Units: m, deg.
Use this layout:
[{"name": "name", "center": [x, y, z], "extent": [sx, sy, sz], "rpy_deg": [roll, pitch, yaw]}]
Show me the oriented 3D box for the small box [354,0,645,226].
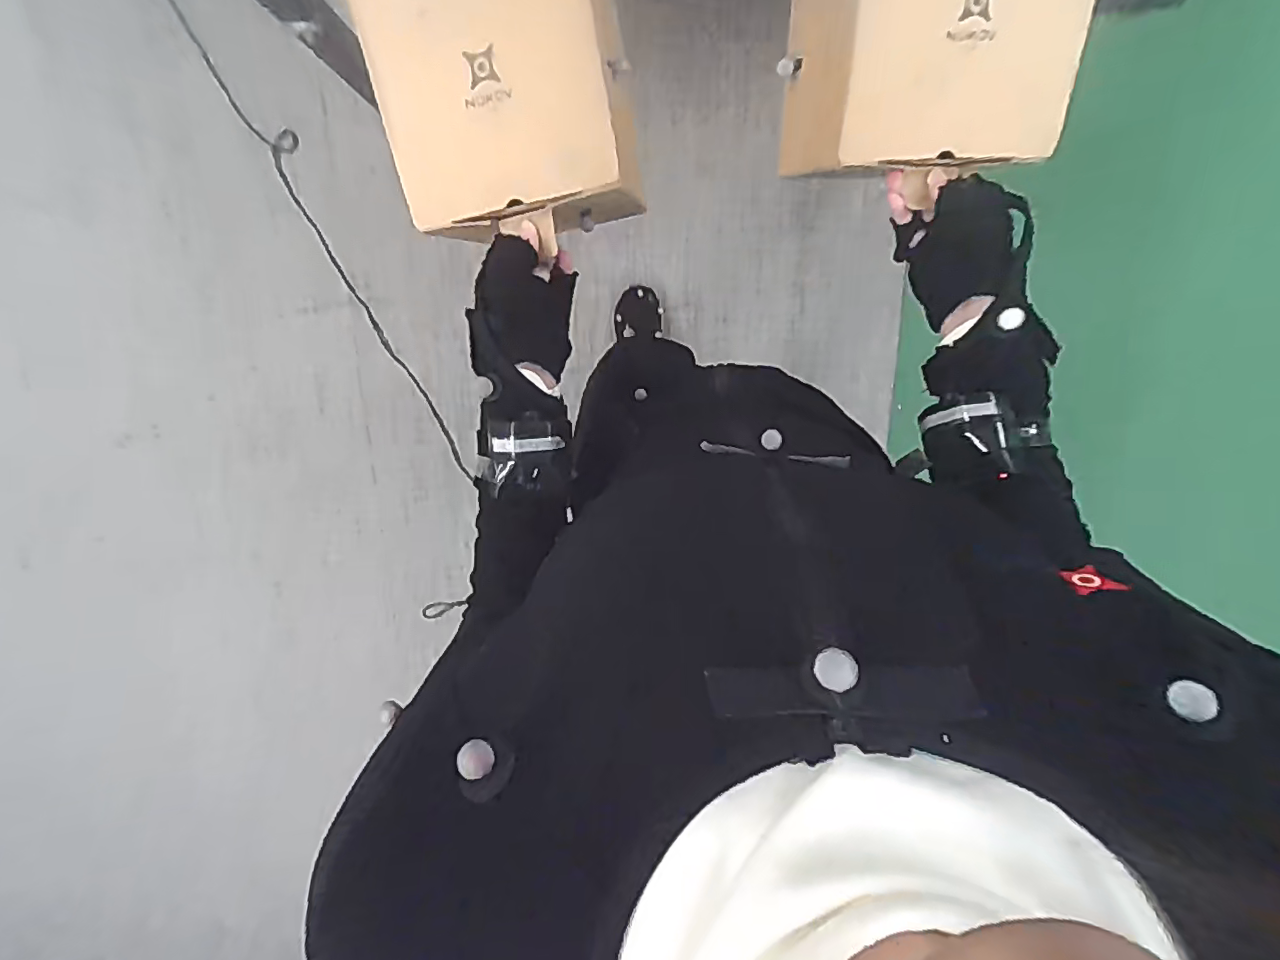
[{"name": "small box", "center": [-0.096, -0.320, 0.446], "extent": [0.168, 0.176, 0.179], "rpy_deg": [-9, 108, 10]}]
